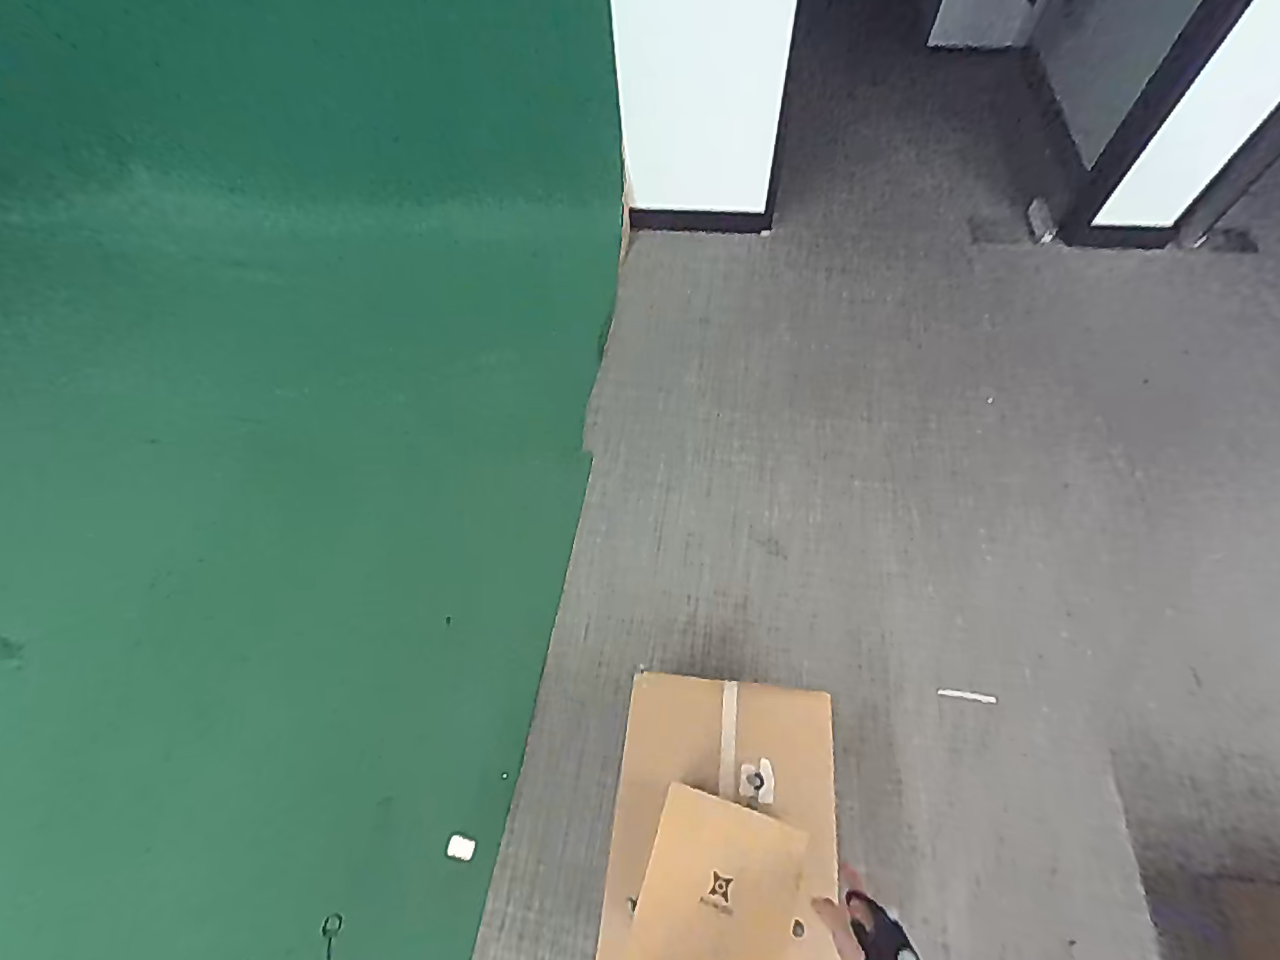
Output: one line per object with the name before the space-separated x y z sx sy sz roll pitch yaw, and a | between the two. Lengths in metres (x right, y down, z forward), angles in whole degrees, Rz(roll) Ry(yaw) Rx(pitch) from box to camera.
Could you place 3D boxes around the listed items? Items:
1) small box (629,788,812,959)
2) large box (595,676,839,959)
small box | 0.096 0.497 0.655 0.168 0.176 0.179 14 62 13
large box | 0.125 0.576 0.890 0.320 0.320 0.408 5 59 7
